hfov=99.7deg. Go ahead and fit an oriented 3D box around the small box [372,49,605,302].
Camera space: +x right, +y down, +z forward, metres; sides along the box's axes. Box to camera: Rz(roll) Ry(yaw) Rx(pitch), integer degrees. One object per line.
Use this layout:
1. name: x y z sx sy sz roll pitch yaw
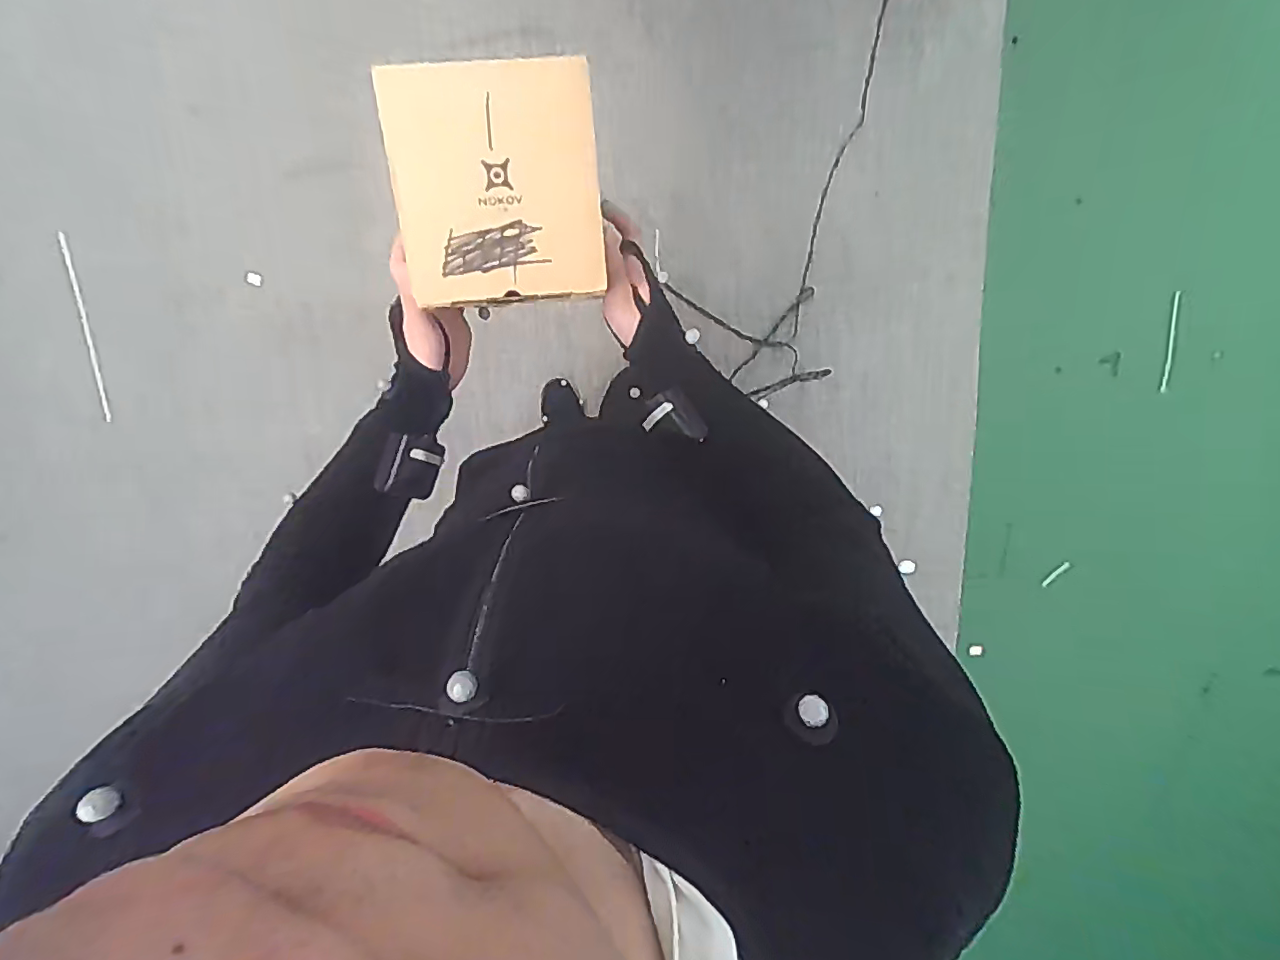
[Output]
1. small box: -0.121 -0.265 0.510 0.168 0.176 0.179 -5 108 -3
